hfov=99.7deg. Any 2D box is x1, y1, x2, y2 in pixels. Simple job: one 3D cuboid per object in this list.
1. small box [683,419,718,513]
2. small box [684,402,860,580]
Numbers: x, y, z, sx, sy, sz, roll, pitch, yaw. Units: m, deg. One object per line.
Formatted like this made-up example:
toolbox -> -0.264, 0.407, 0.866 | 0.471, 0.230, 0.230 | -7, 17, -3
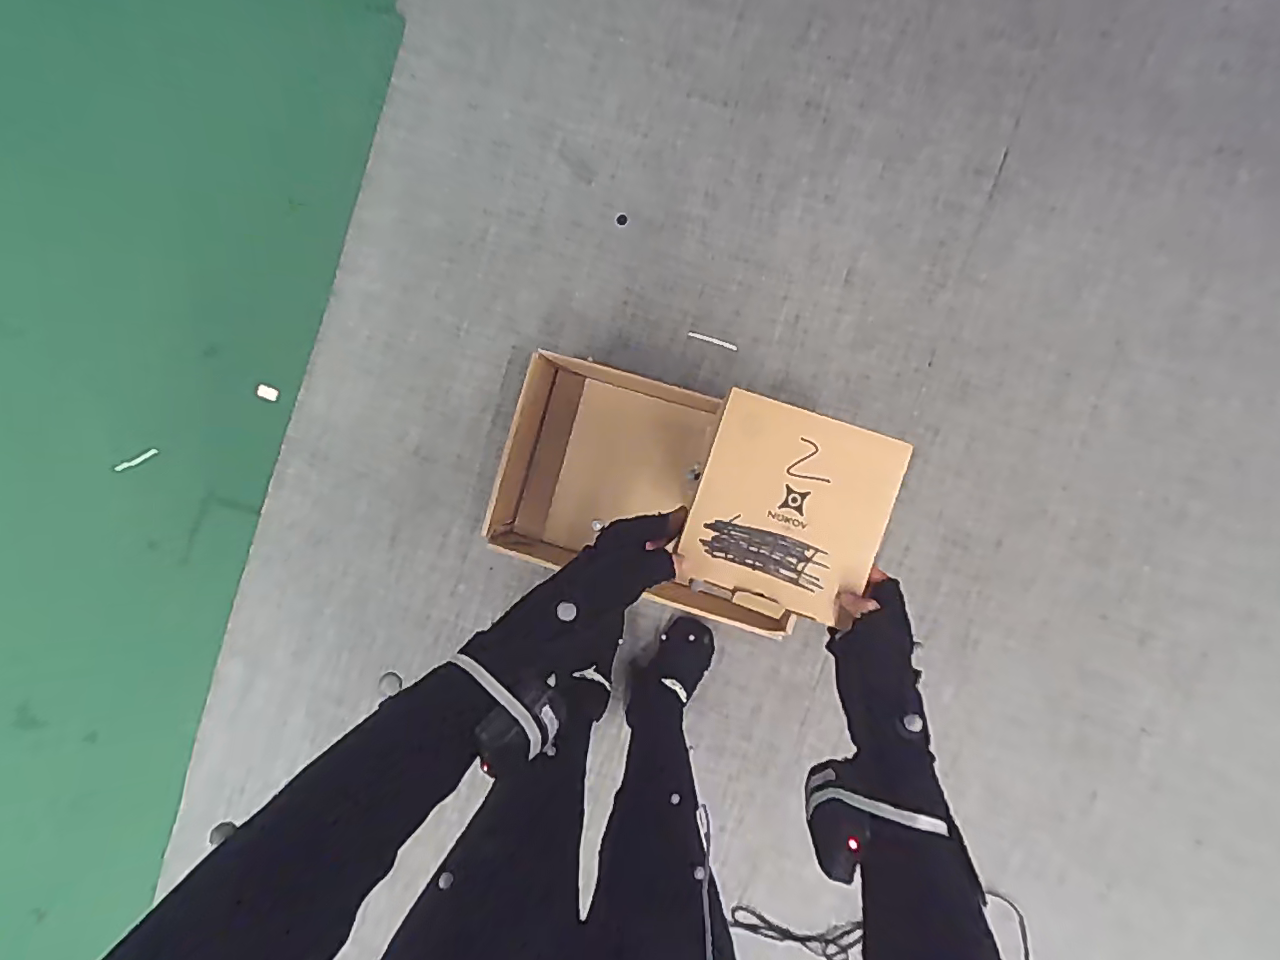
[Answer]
small box -> 0.187, -0.010, 1.051 | 0.168, 0.176, 0.179 | 13, 93, 6
small box -> 0.164, 0.010, 0.723 | 0.168, 0.176, 0.179 | 18, 94, 4
